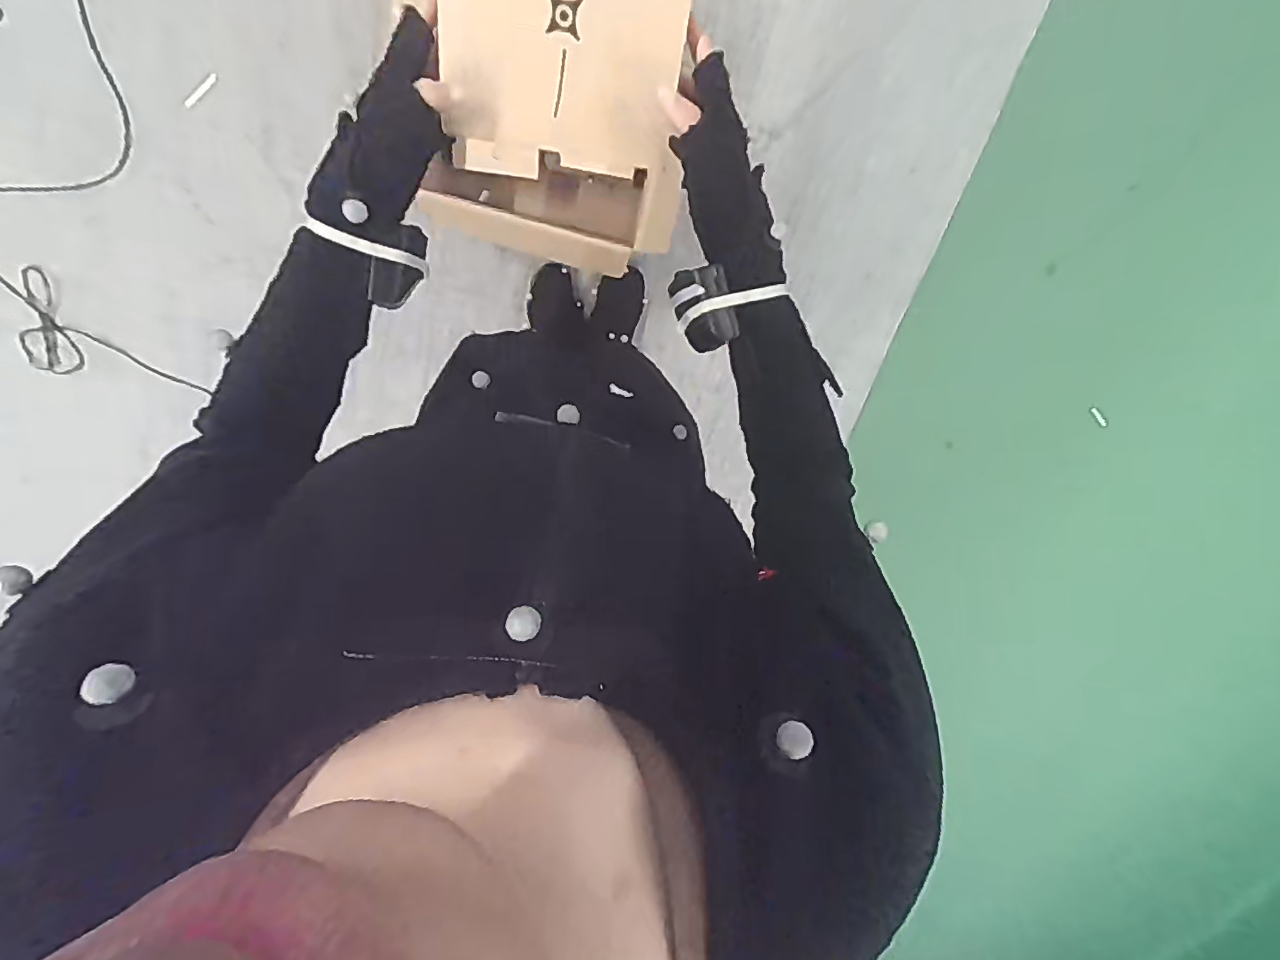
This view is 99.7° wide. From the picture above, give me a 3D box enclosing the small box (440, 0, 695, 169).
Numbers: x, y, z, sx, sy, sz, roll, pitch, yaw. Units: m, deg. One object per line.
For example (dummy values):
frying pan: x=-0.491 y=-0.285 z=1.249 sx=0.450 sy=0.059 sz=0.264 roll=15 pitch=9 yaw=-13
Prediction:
small box: x=-0.054 y=-0.358 z=0.417 sx=0.168 sy=0.176 sz=0.179 roll=5 pitch=123 yaw=-9
